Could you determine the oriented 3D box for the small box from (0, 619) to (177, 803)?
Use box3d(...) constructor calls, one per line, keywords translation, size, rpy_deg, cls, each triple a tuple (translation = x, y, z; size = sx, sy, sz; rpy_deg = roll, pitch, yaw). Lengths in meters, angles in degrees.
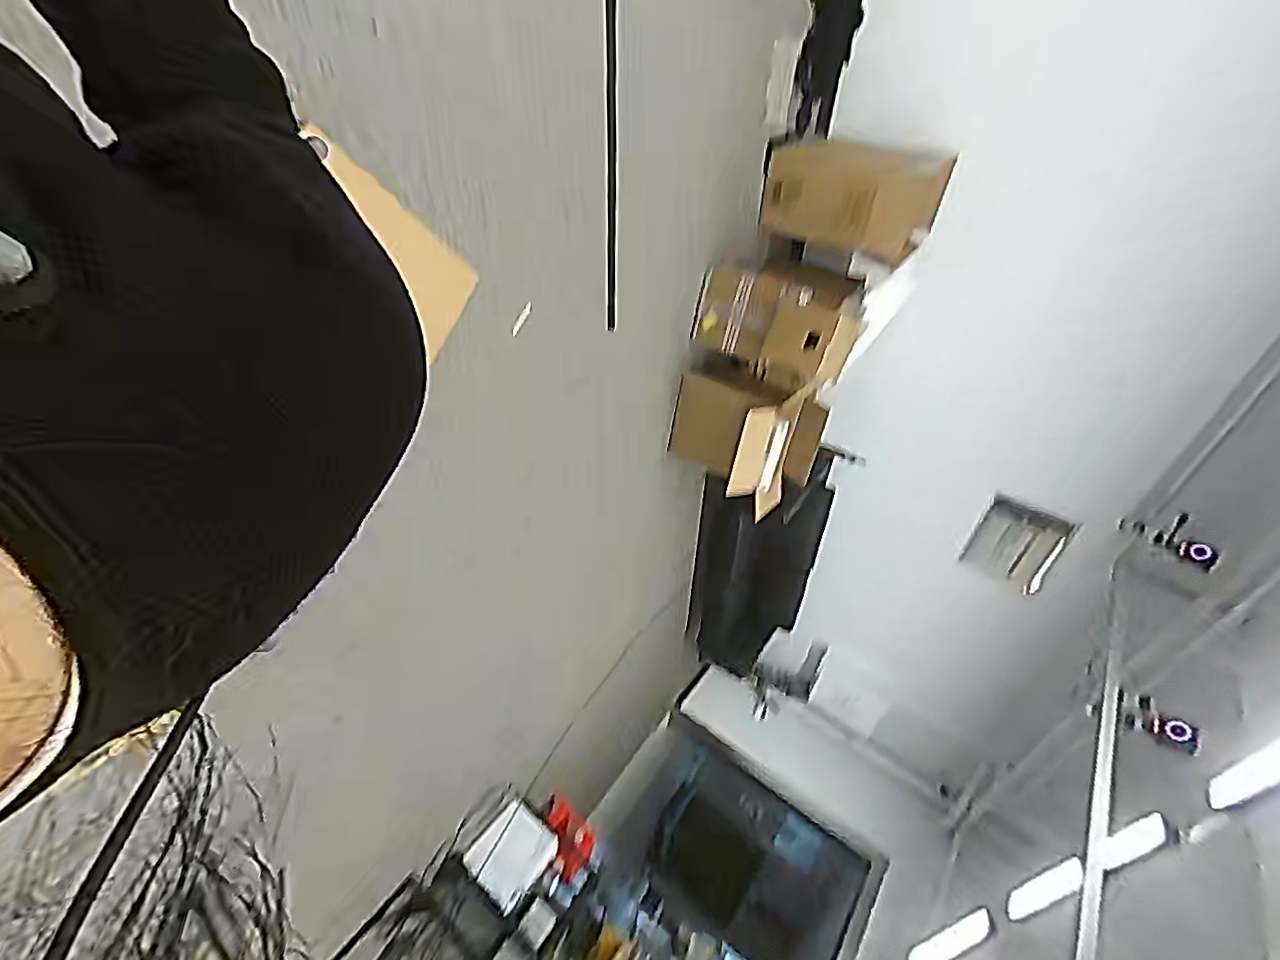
box3d(translation=(-0.882, 0.343, 0.838), size=(0.168, 0.176, 0.179), rpy_deg=(-35, 140, -41), cls="small box")
